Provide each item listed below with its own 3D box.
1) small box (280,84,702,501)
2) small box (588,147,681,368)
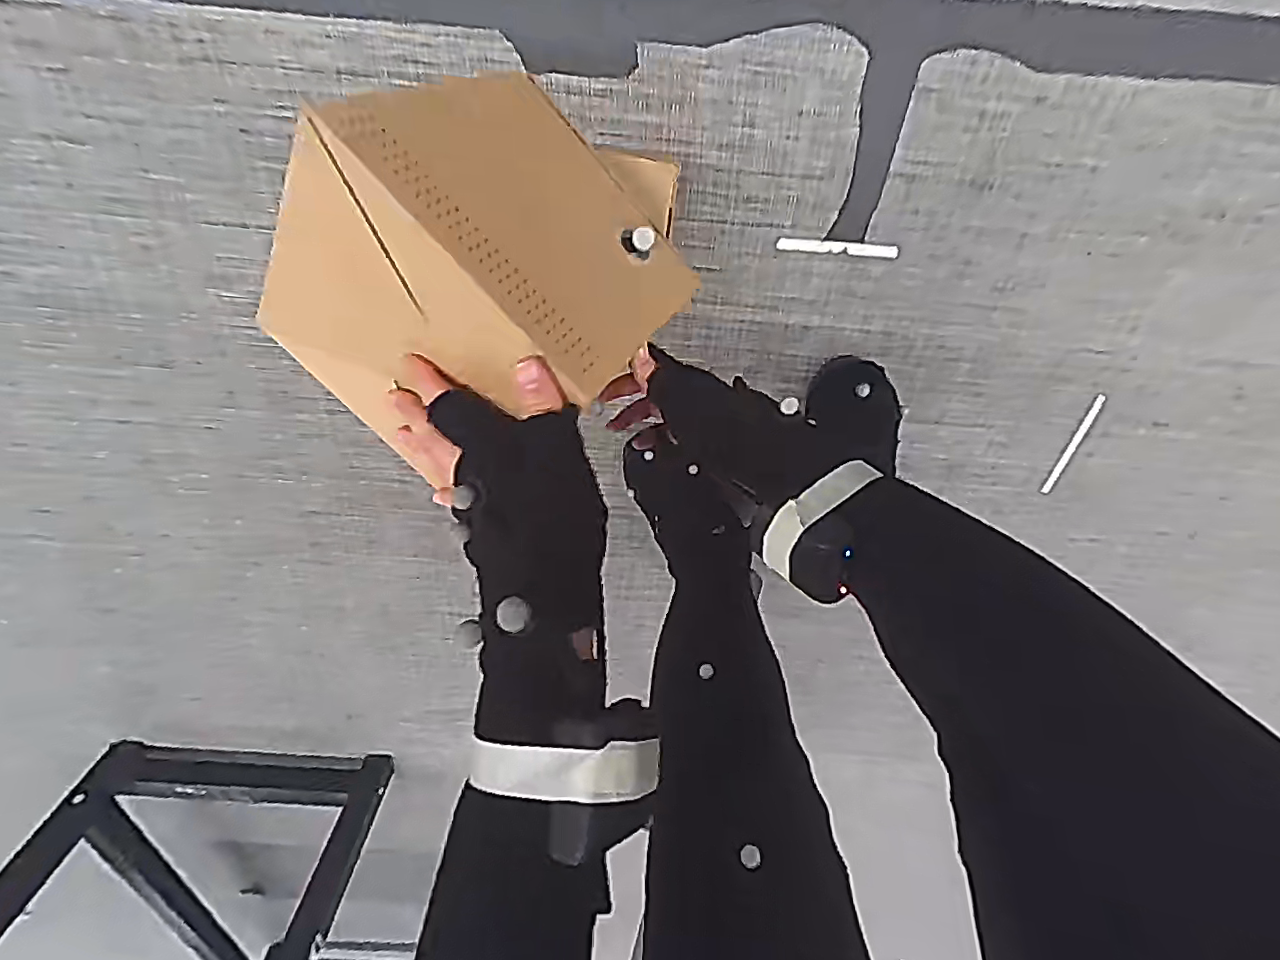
[{"bbox_3d":[-0.094,-0.115,0.363,0.179,0.176,0.168,45,135,-13],"label":"small box"},{"bbox_3d":[-0.062,-0.225,0.525,0.179,0.176,0.168,7,123,-2],"label":"small box"}]
